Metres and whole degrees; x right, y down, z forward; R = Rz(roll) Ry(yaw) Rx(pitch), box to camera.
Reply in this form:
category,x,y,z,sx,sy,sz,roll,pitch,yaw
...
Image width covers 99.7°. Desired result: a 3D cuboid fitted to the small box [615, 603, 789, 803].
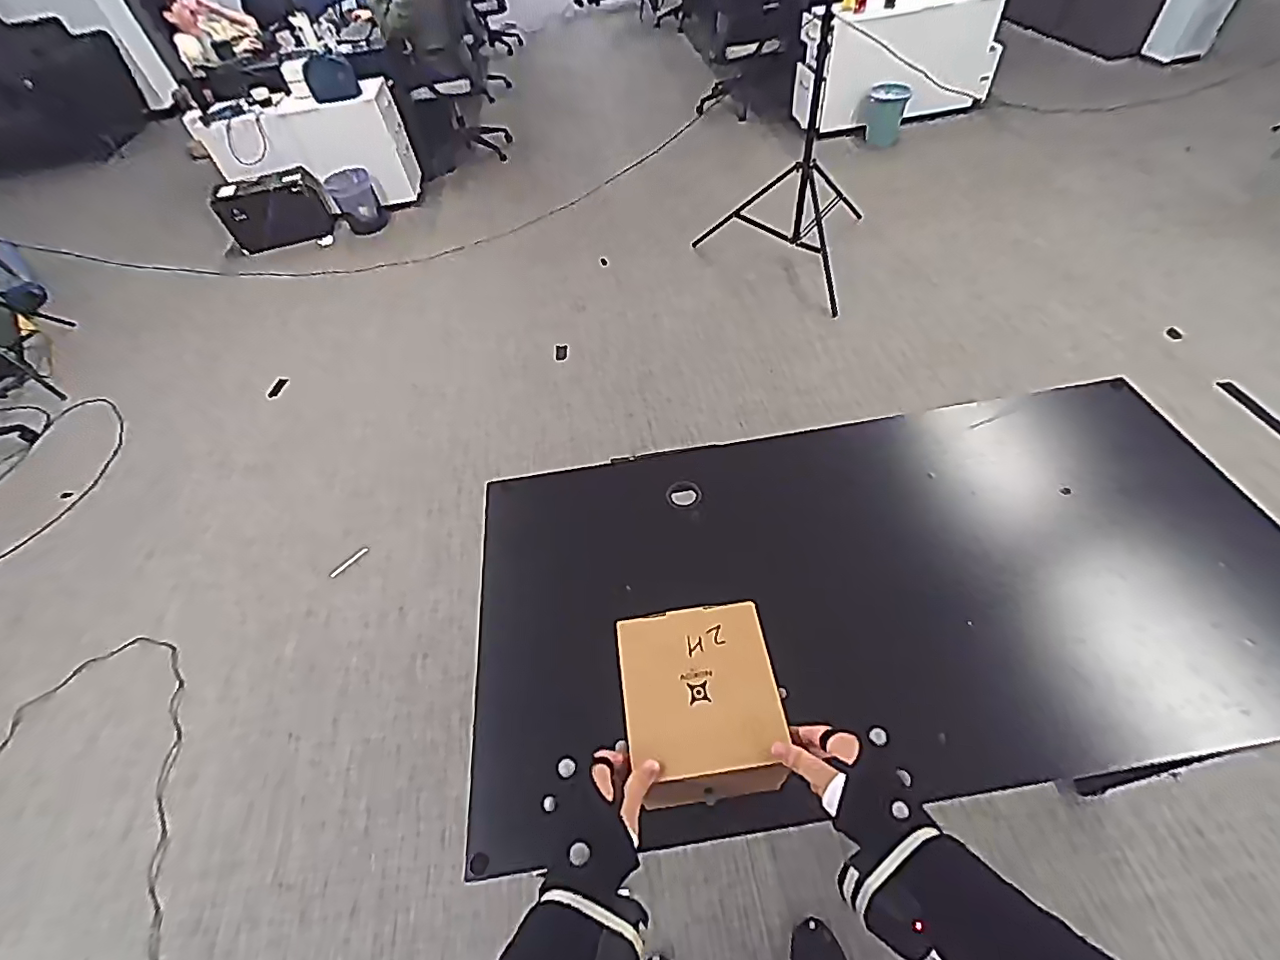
category,x,y,z,sx,sy,sz,roll,pitch,yaw
small box,0.069,0.273,0.648,0.168,0.176,0.179,-9,50,0
